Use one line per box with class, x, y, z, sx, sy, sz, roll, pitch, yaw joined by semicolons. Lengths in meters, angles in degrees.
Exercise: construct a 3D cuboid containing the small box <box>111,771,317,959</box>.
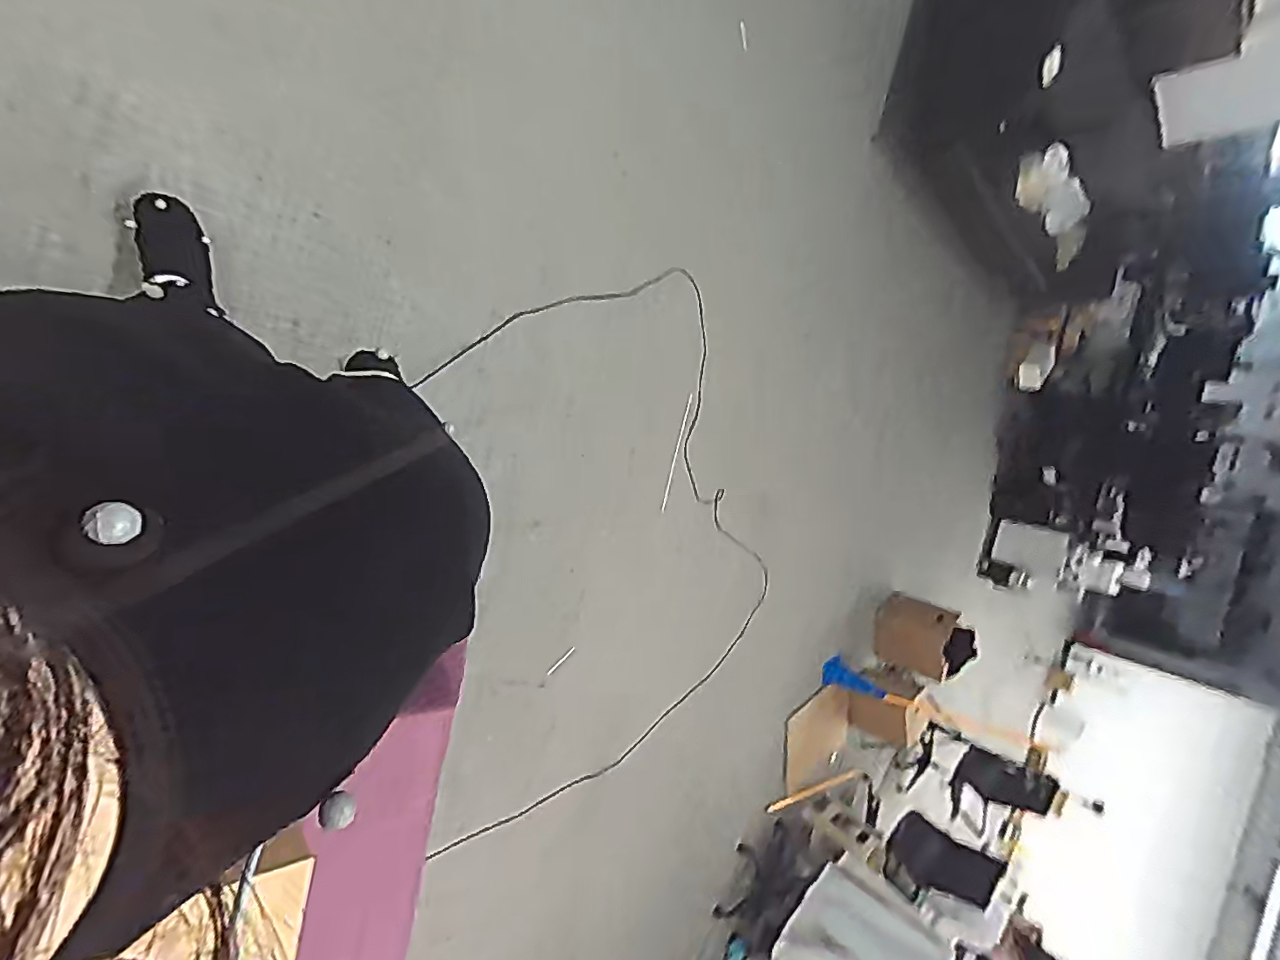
small box;-0.515;0.494;0.652;0.168;0.176;0.179;10;94;-43
